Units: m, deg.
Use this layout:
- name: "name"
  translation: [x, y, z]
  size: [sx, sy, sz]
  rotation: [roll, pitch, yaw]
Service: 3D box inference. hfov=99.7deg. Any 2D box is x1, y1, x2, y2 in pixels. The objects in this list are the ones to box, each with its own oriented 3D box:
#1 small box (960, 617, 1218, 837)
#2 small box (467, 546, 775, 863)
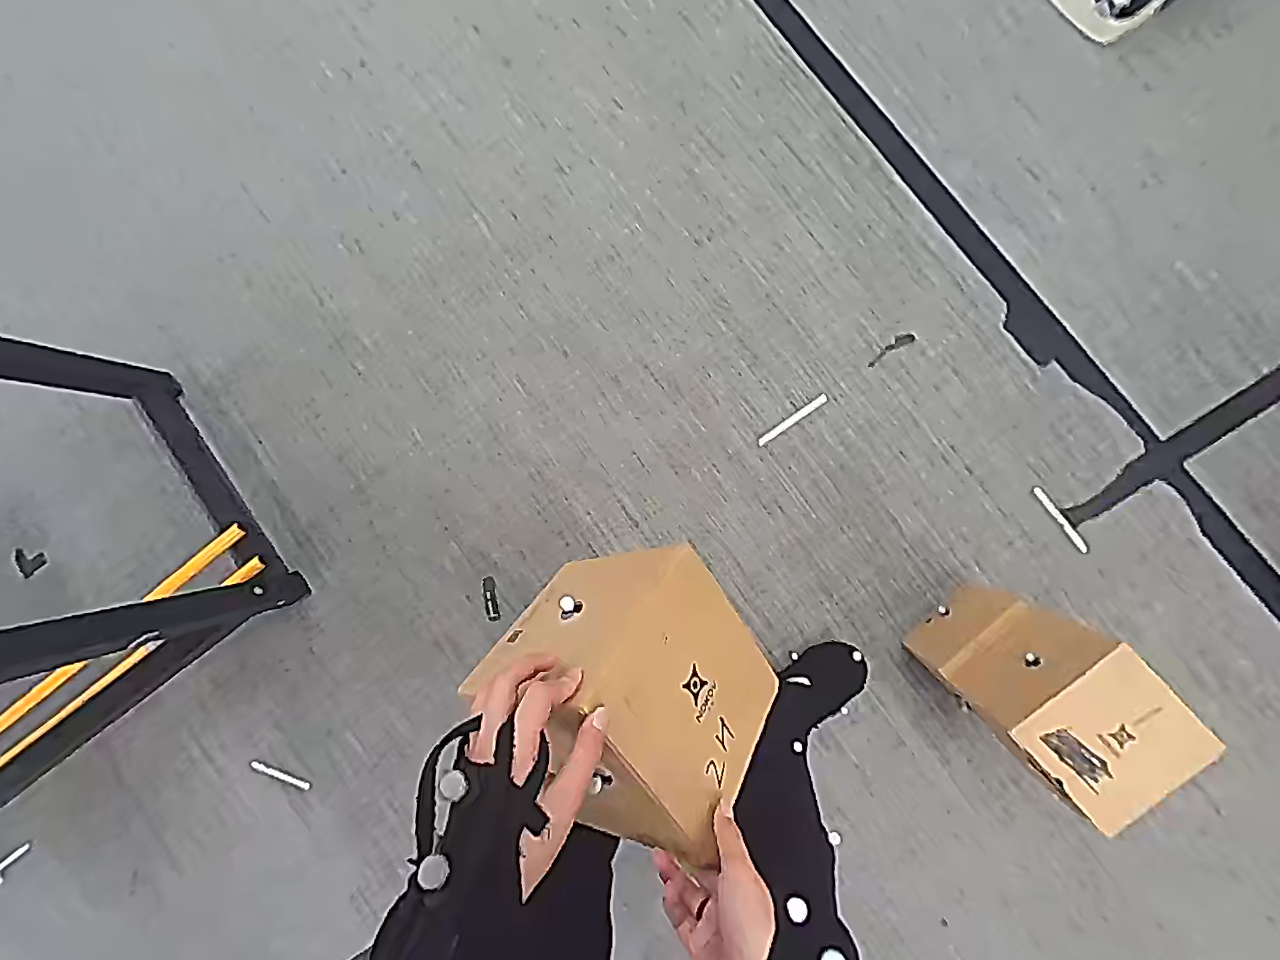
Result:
- name: "small box"
  translation: [0.568, 0.312, 0.722]
  size: [0.179, 0.176, 0.168]
  rotation: [-41, 85, 4]
- name: "small box"
  translation: [-0.015, 0.185, 0.475]
  size: [0.176, 0.168, 0.179]
  rotation: [-17, 113, 43]
